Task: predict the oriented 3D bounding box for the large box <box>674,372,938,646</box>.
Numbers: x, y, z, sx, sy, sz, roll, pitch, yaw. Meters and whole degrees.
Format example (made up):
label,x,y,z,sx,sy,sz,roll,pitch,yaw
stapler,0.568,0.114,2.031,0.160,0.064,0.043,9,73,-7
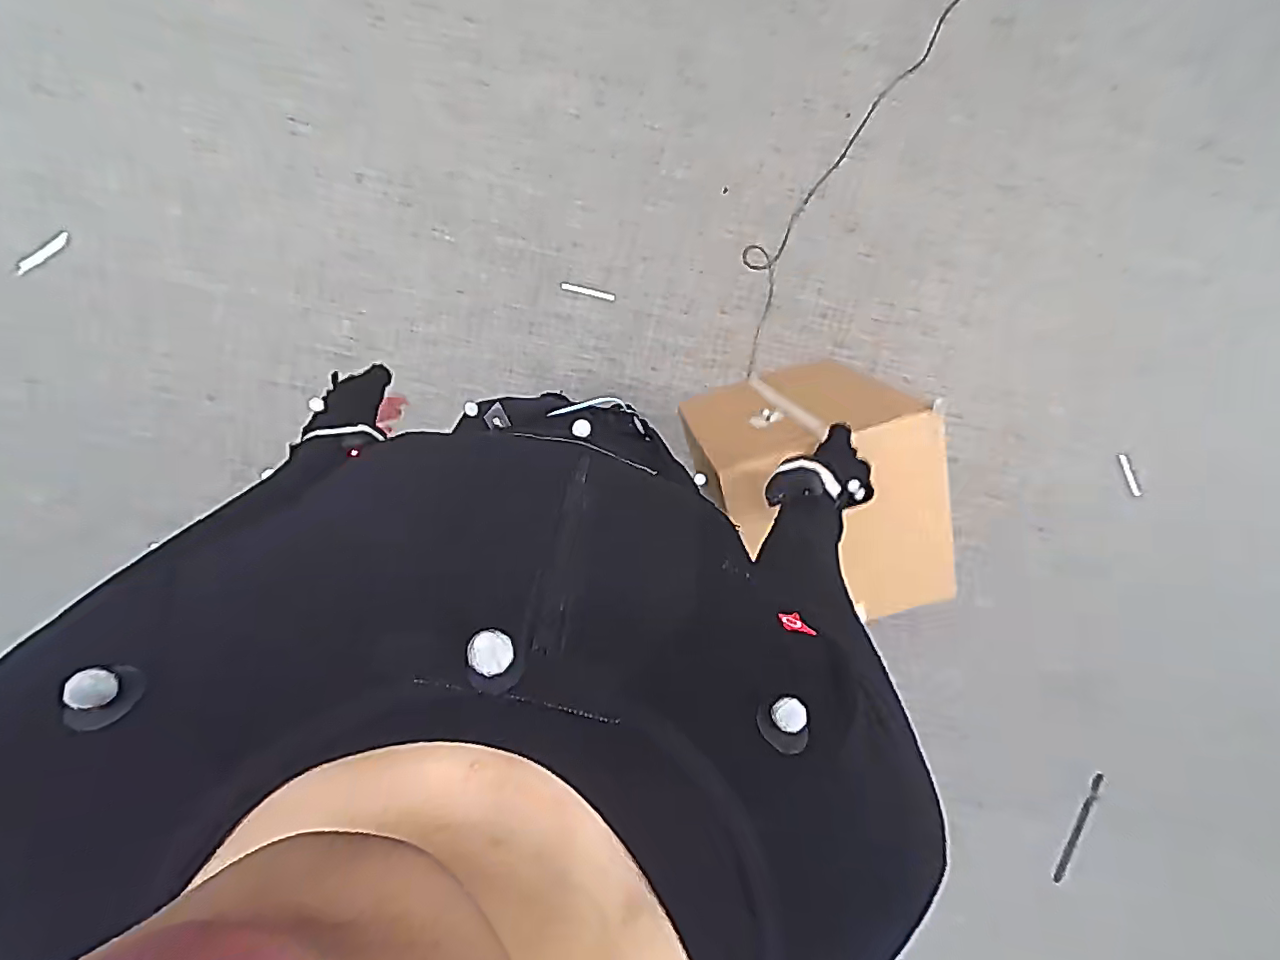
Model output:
label,x,y,z,sx,sy,sz,roll,pitch,yaw
large box,0.271,0.023,0.976,0.320,0.408,0.320,-16,112,1
